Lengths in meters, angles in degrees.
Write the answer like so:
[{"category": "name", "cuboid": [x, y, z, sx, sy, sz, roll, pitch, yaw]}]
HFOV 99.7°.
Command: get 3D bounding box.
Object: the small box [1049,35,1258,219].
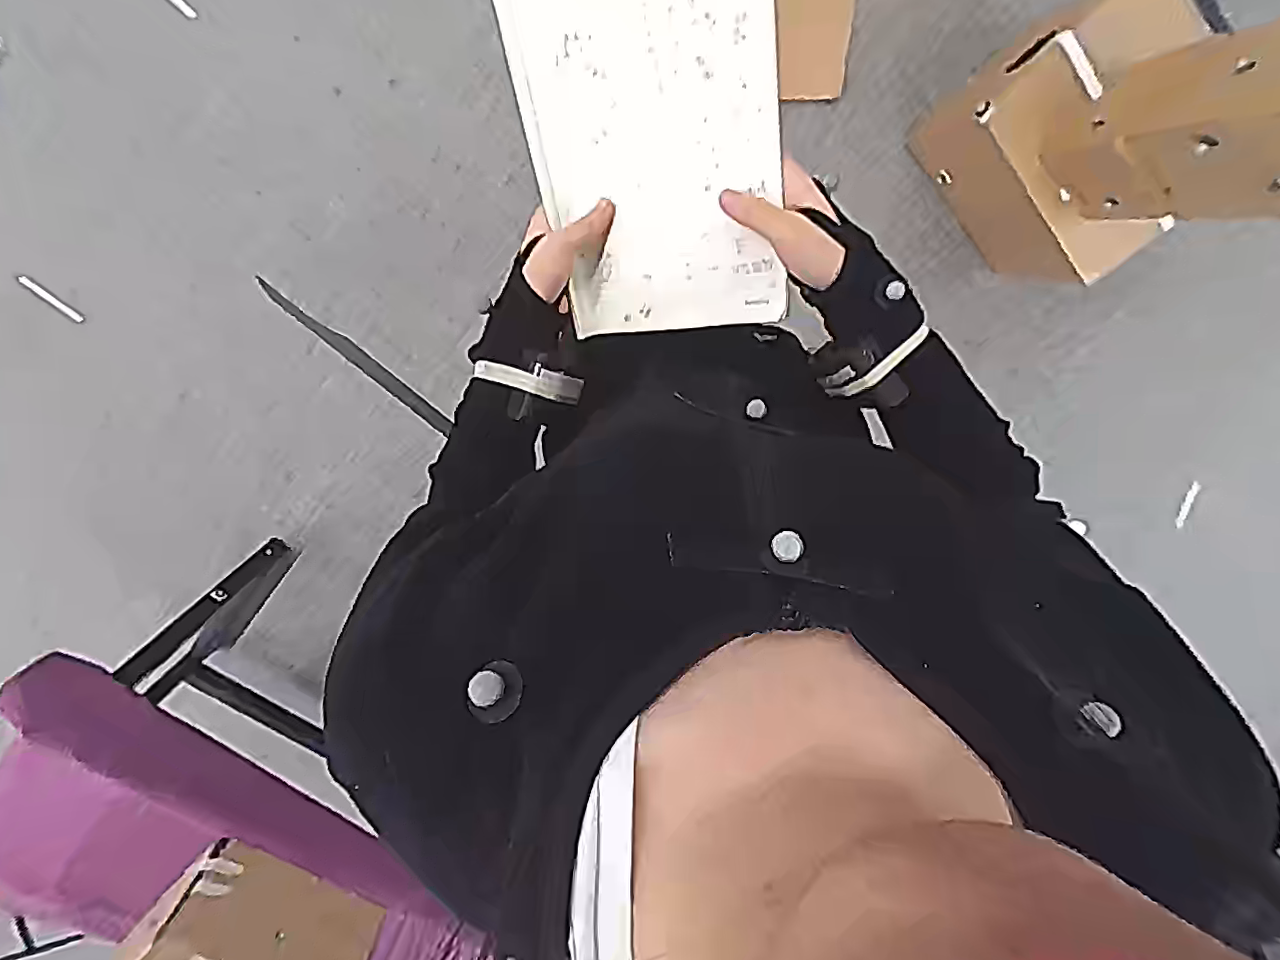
[{"category": "small box", "cuboid": [0.815, -0.549, 0.874, 0.168, 0.176, 0.179, 37, 109, -16]}]
